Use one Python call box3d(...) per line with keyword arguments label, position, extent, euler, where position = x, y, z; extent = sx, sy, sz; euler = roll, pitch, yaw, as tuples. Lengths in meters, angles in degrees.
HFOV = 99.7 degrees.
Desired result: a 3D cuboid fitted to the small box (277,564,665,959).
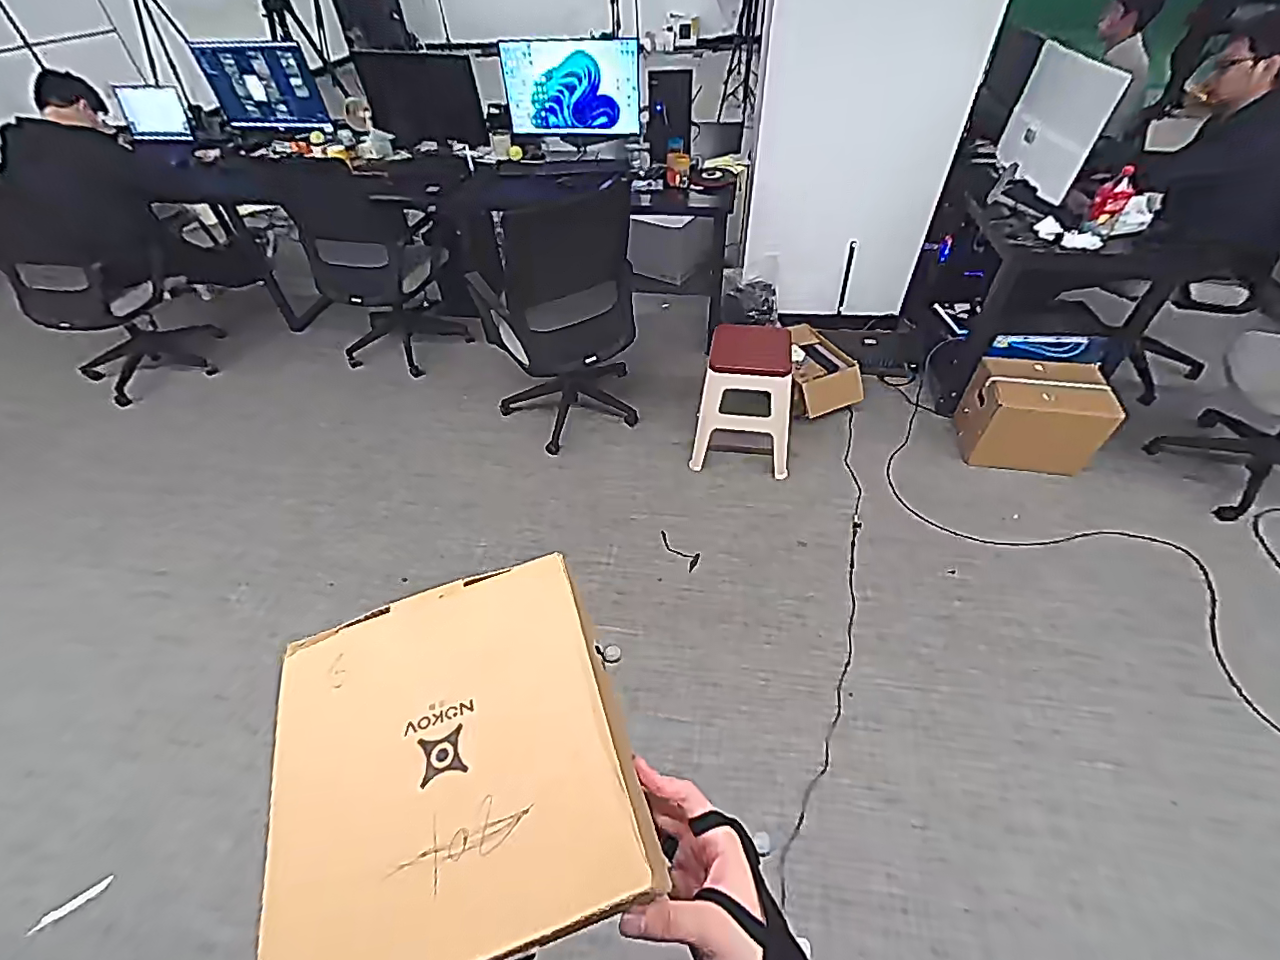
box3d(label="small box", position=(-0.090, 0.187, 0.343), extent=(0.168, 0.176, 0.179), euler=(-18, 53, -7))
